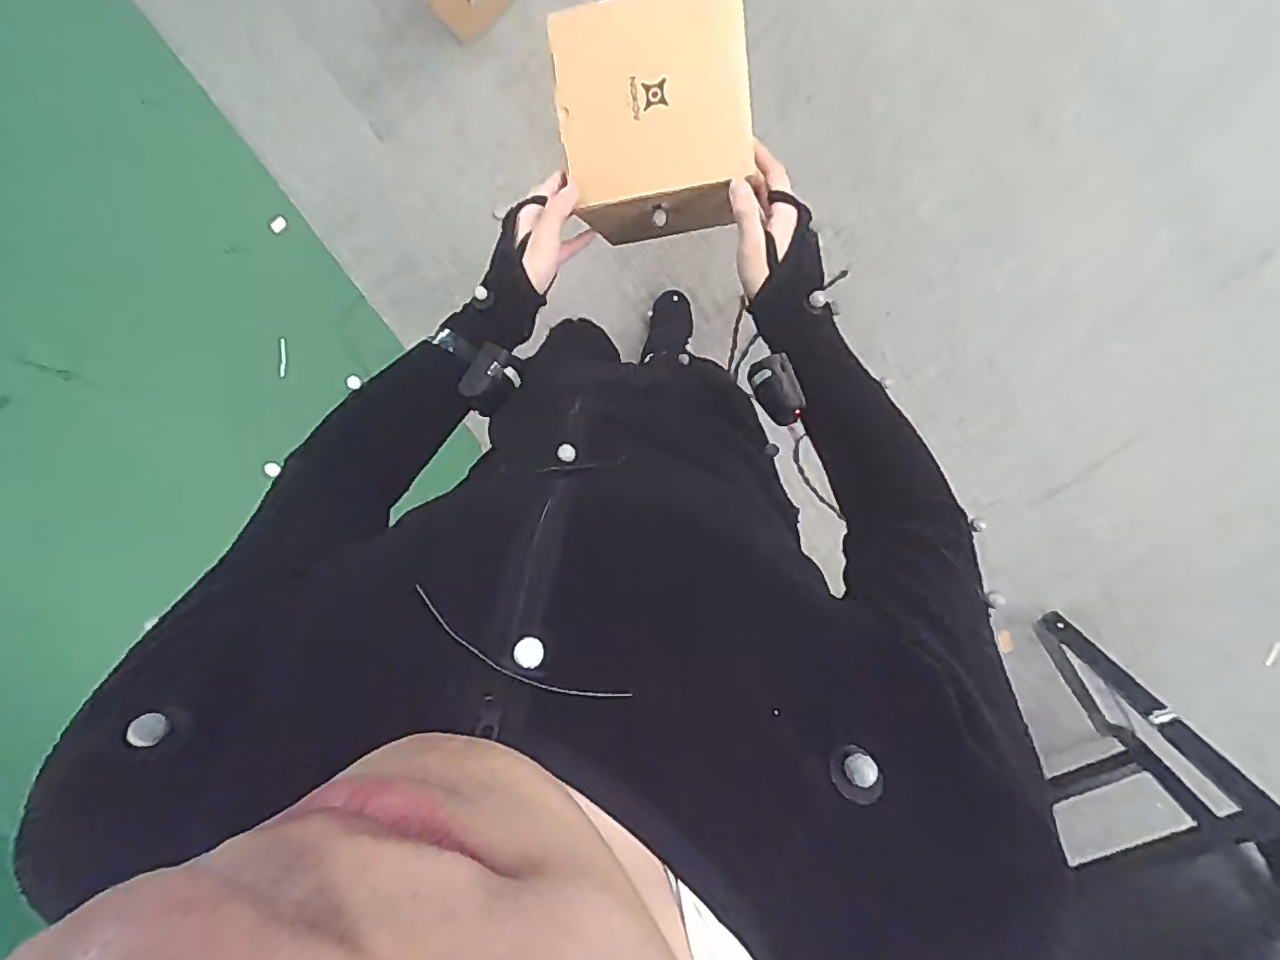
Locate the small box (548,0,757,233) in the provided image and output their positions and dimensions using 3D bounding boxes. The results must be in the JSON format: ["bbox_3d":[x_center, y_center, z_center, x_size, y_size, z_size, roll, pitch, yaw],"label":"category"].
[{"bbox_3d":[0.025,-0.372,0.561,0.179,0.176,0.168,-5,101,13],"label":"small box"}]

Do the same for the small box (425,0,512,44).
[{"bbox_3d":[-0.412,-1.144,1.216,0.179,0.176,0.168,-33,104,14],"label":"small box"}]
